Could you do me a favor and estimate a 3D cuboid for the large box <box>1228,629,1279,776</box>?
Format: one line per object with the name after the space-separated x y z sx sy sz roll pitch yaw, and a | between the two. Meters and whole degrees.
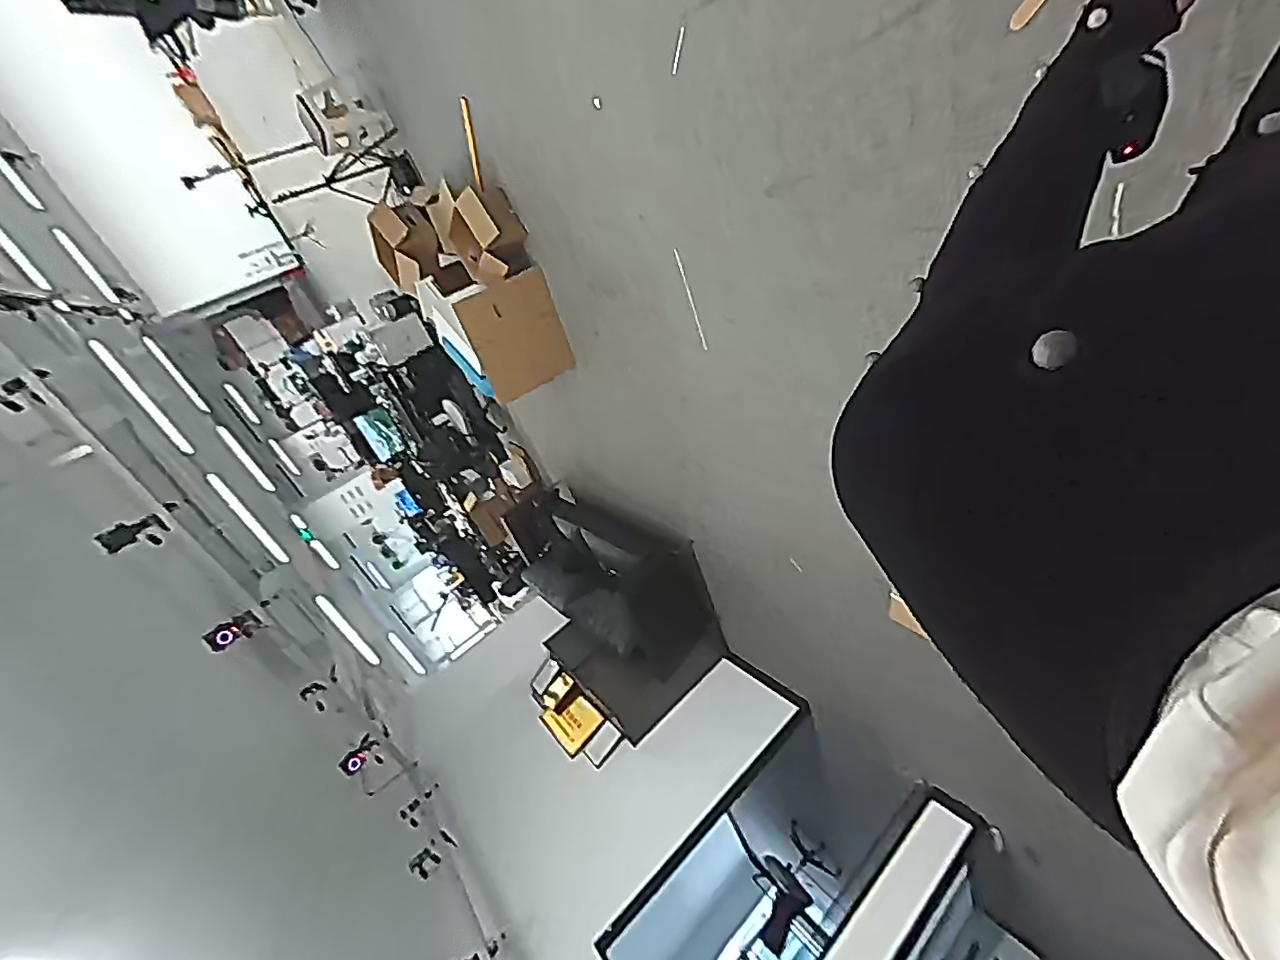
1.723 0.552 1.225 0.320 0.320 0.408 52 155 1 | large box
